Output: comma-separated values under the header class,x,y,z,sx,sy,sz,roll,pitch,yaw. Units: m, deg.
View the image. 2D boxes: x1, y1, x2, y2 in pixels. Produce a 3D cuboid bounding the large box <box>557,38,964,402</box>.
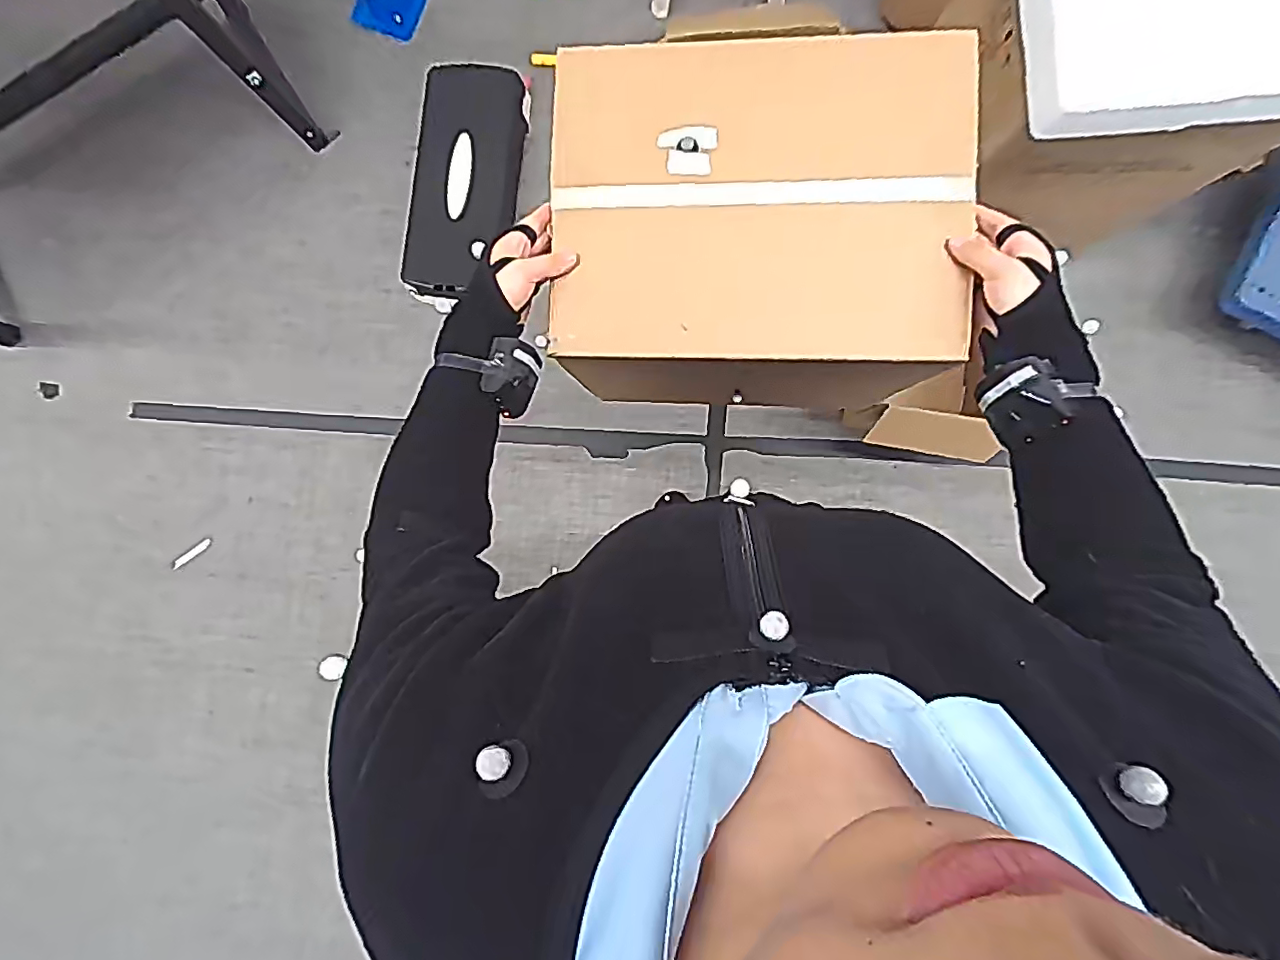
class,x,y,z,sx,sy,sz,roll,pitch,yaw
large box,0.131,-0.274,0.687,0.408,0.320,0.320,1,88,6
